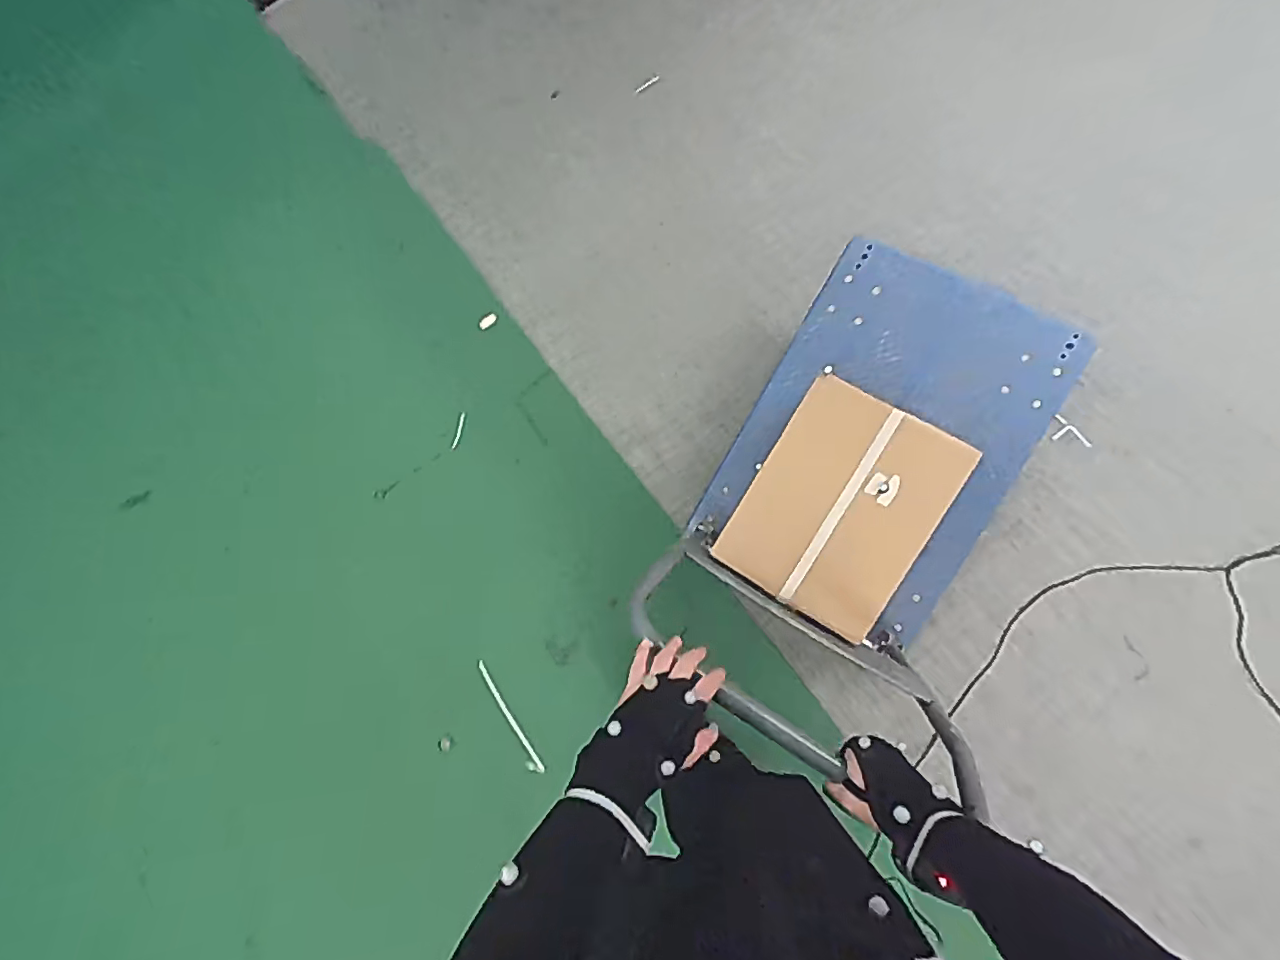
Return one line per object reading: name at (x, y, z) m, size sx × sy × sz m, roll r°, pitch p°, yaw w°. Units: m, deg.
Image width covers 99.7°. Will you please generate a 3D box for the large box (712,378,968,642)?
large box at (0.391, 0.063, 1.141) m, size 0.320 × 0.320 × 0.408 m, roll 31°, pitch 93°, yaw 12°
